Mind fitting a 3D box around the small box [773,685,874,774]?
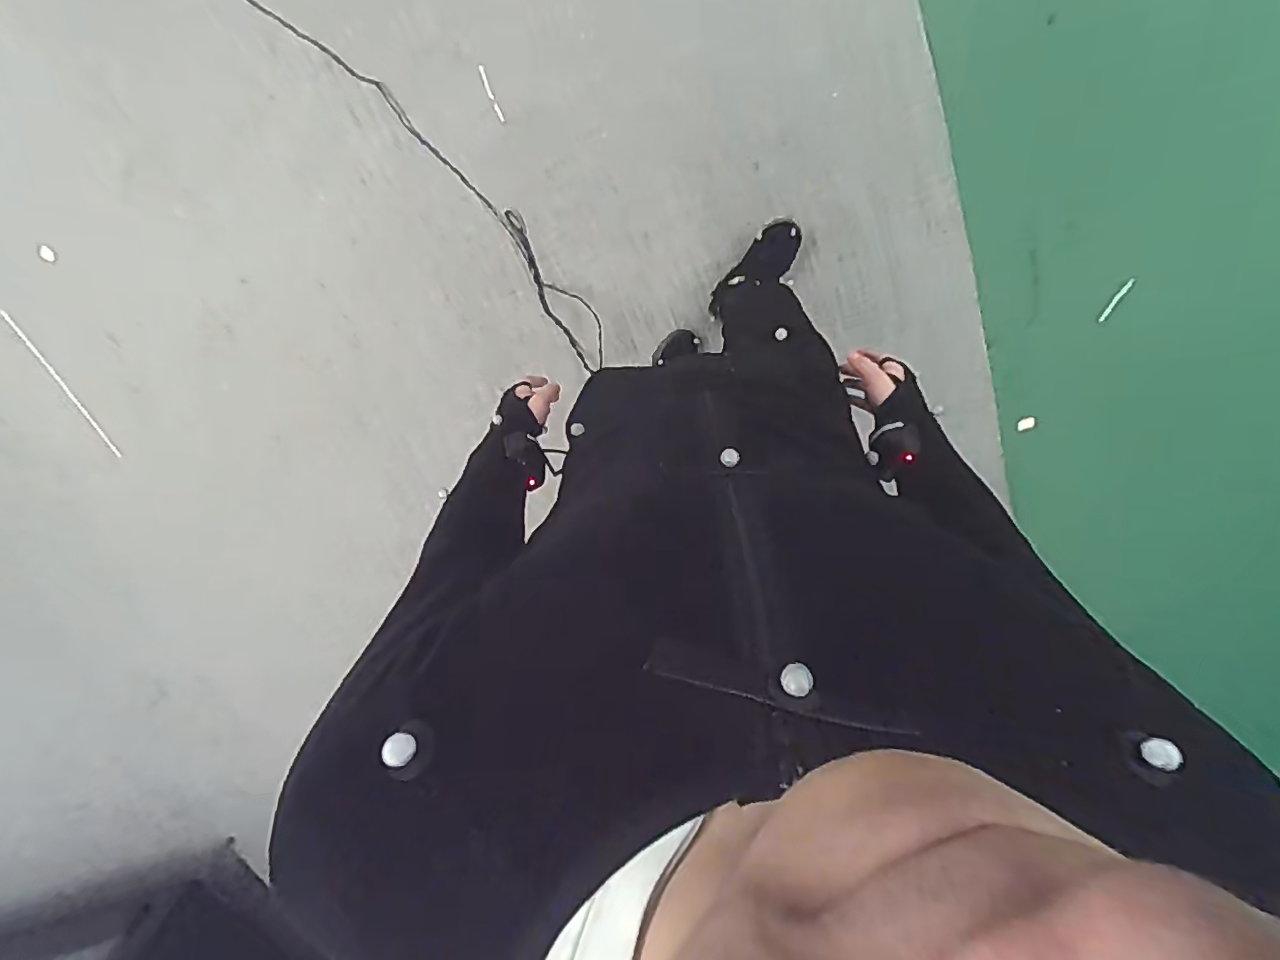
[{"bbox_3d":[0.399,0.563,1.146,0.168,0.176,0.179,-23,109,9],"label":"small box"}]
